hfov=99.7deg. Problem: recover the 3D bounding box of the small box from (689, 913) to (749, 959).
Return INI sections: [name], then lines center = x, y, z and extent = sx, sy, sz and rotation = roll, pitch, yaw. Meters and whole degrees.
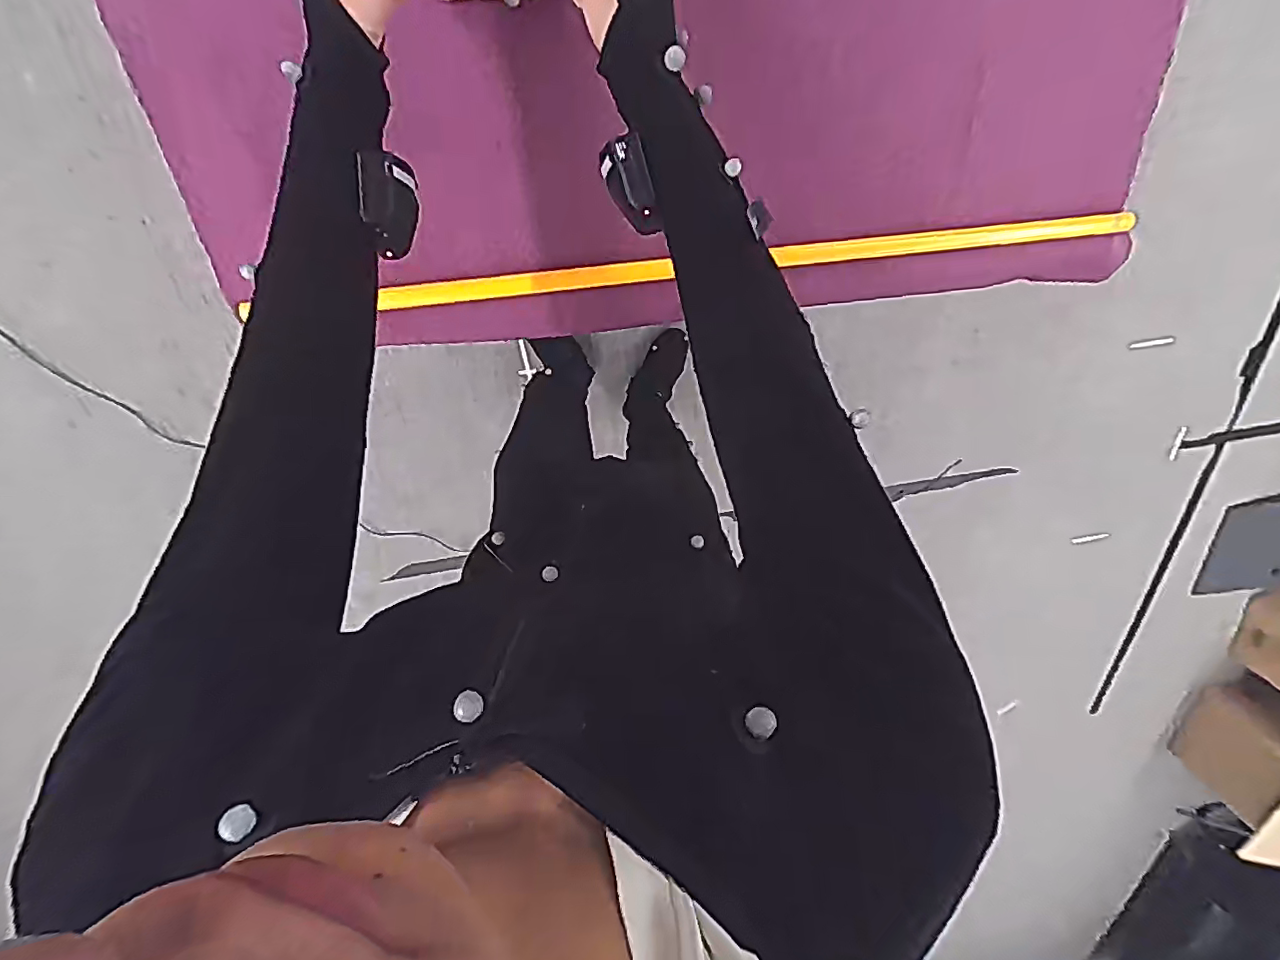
[small box]
center = 0.285, 1.727, 1.980
extent = 0.179, 0.176, 0.168
rotation = 0, 120, -10
